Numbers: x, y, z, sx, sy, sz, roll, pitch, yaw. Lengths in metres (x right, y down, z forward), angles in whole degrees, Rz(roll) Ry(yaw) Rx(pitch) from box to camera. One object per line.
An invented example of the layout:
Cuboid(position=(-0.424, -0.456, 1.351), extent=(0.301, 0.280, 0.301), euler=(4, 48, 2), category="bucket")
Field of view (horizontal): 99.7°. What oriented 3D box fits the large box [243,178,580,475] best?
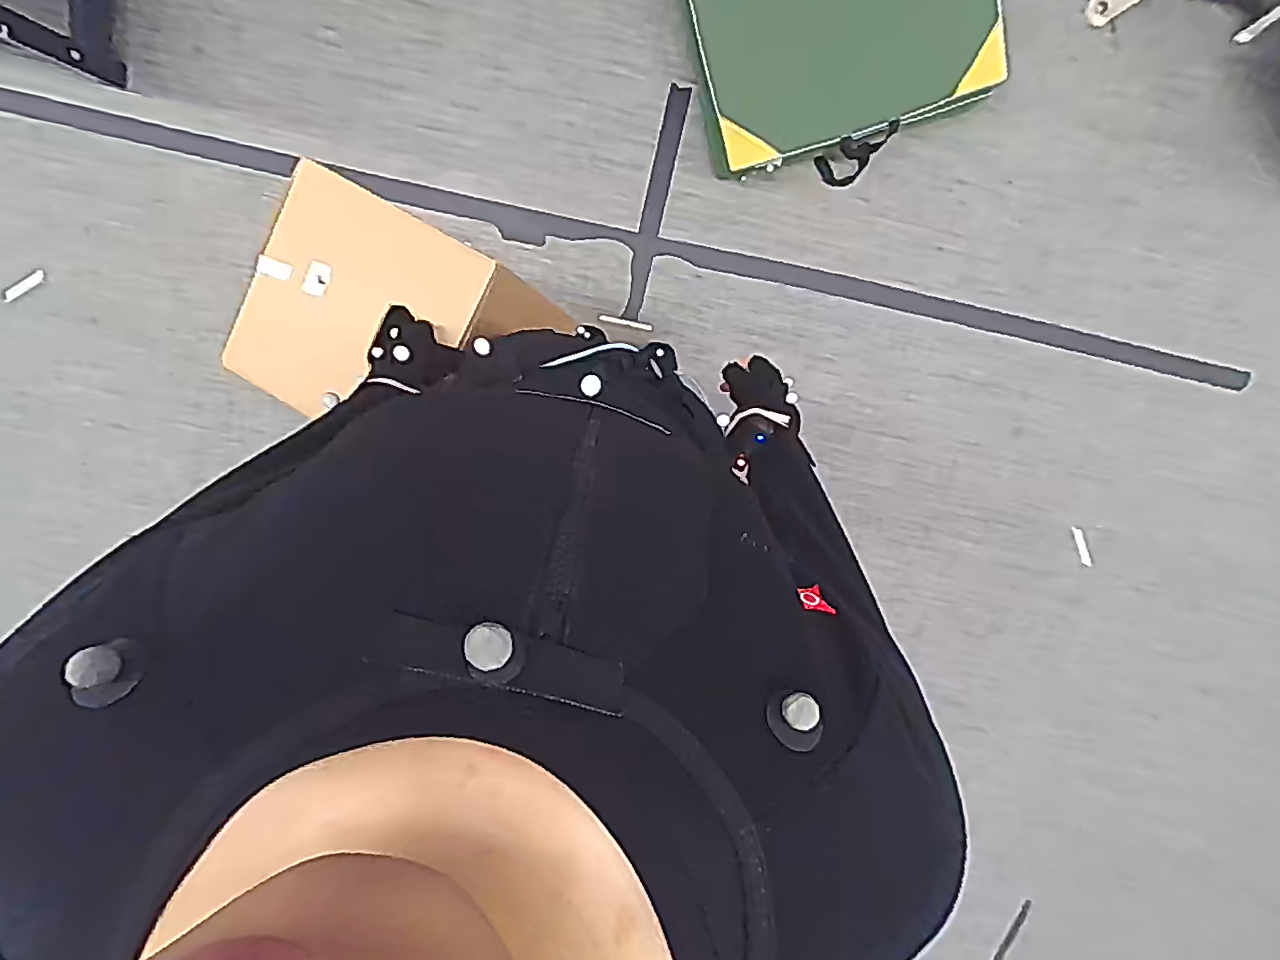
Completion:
Cuboid(position=(-0.352, -0.234, 0.934), extent=(0.320, 0.408, 0.320), euler=(31, 99, 4), category="large box")
